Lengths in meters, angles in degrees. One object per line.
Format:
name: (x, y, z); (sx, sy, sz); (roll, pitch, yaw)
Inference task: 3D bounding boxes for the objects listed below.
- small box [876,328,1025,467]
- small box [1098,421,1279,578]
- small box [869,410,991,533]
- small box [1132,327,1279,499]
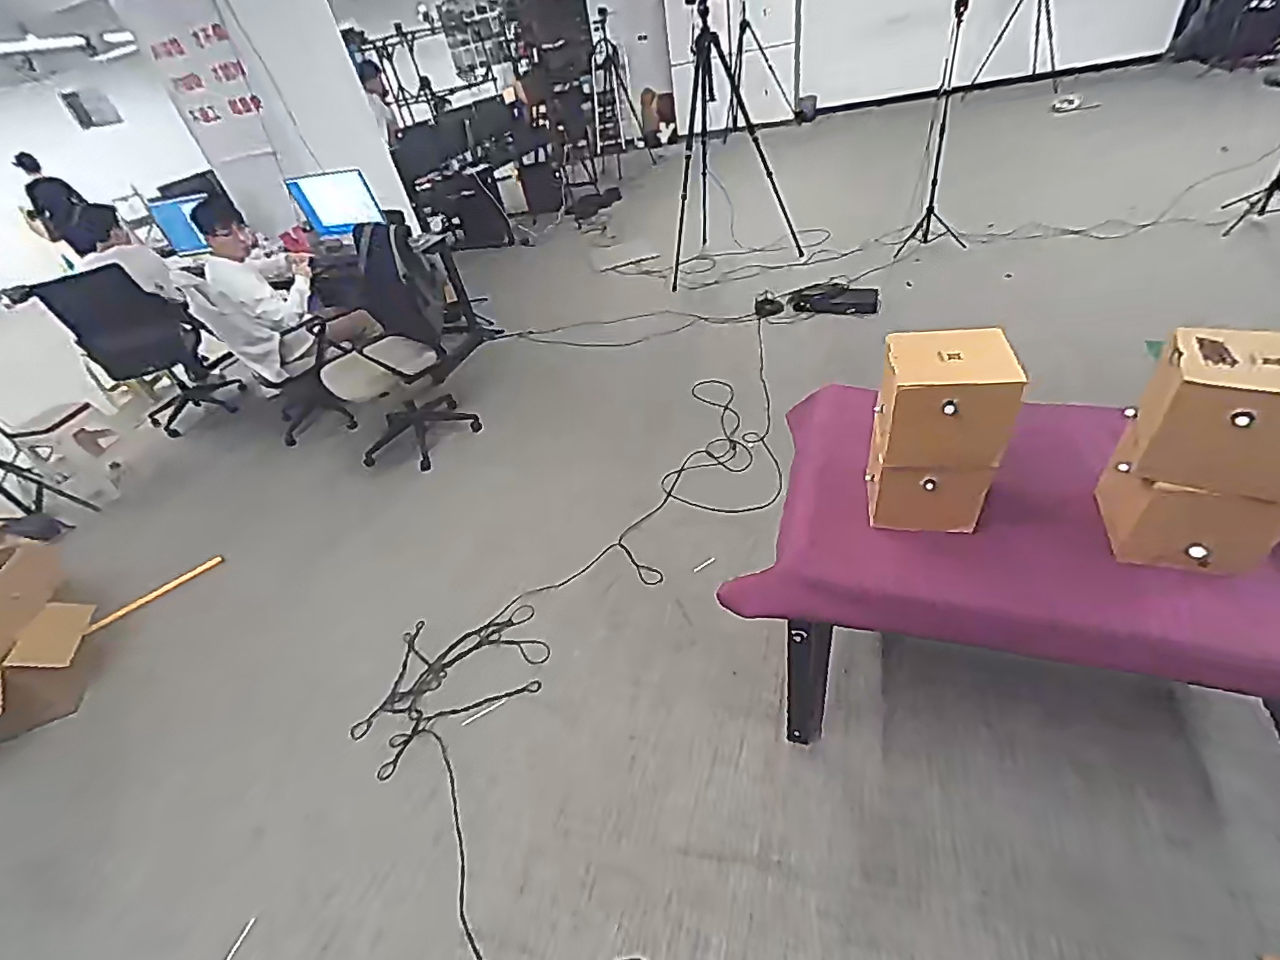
small box: (0.502, -0.135, 0.904); (0.179, 0.176, 0.168); (1, 43, 17)
small box: (0.872, 0.027, 0.863); (0.168, 0.176, 0.179); (7, 44, 23)
small box: (0.527, -0.017, 1.012); (0.179, 0.176, 0.168); (3, 43, 18)
small box: (0.832, -0.096, 0.760); (0.179, 0.176, 0.168); (16, 48, 30)
